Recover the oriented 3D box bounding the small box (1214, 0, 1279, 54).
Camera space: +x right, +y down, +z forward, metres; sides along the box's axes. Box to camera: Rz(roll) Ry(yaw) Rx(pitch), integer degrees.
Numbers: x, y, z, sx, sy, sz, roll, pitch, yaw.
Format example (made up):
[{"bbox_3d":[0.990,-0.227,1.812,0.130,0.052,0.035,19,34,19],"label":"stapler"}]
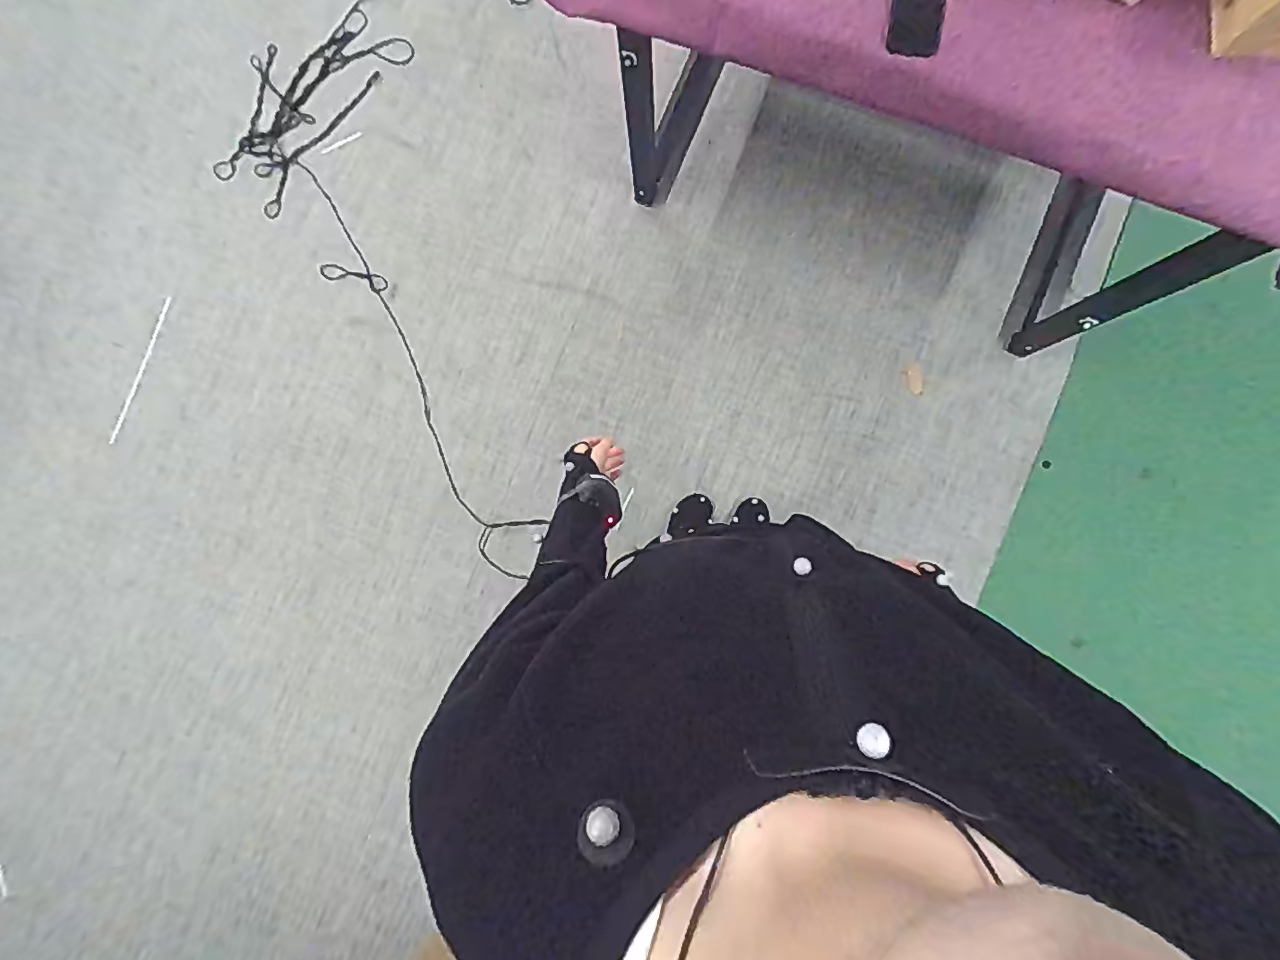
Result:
[{"bbox_3d":[0.917,-0.699,0.707,0.179,0.176,0.168,3,87,3],"label":"small box"}]
